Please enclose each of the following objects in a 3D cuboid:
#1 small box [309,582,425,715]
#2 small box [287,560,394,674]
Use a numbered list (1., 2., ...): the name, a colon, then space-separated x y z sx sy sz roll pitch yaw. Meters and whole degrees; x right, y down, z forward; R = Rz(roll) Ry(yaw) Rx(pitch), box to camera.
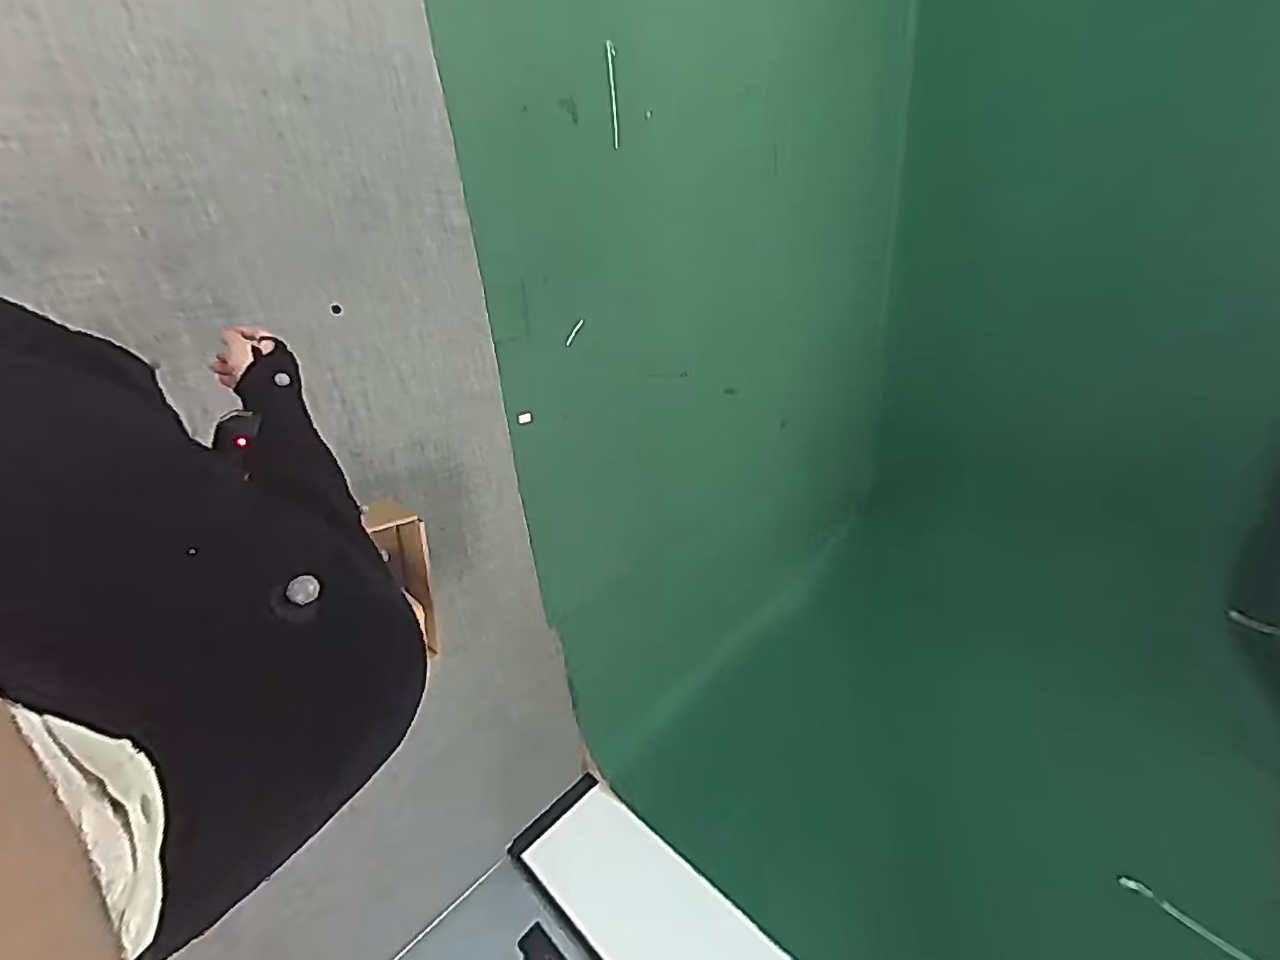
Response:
1. small box: -0.568 0.340 1.127 0.168 0.176 0.179 -15 114 -42
2. small box: -0.679 0.303 1.242 0.179 0.176 0.168 -16 115 -42
